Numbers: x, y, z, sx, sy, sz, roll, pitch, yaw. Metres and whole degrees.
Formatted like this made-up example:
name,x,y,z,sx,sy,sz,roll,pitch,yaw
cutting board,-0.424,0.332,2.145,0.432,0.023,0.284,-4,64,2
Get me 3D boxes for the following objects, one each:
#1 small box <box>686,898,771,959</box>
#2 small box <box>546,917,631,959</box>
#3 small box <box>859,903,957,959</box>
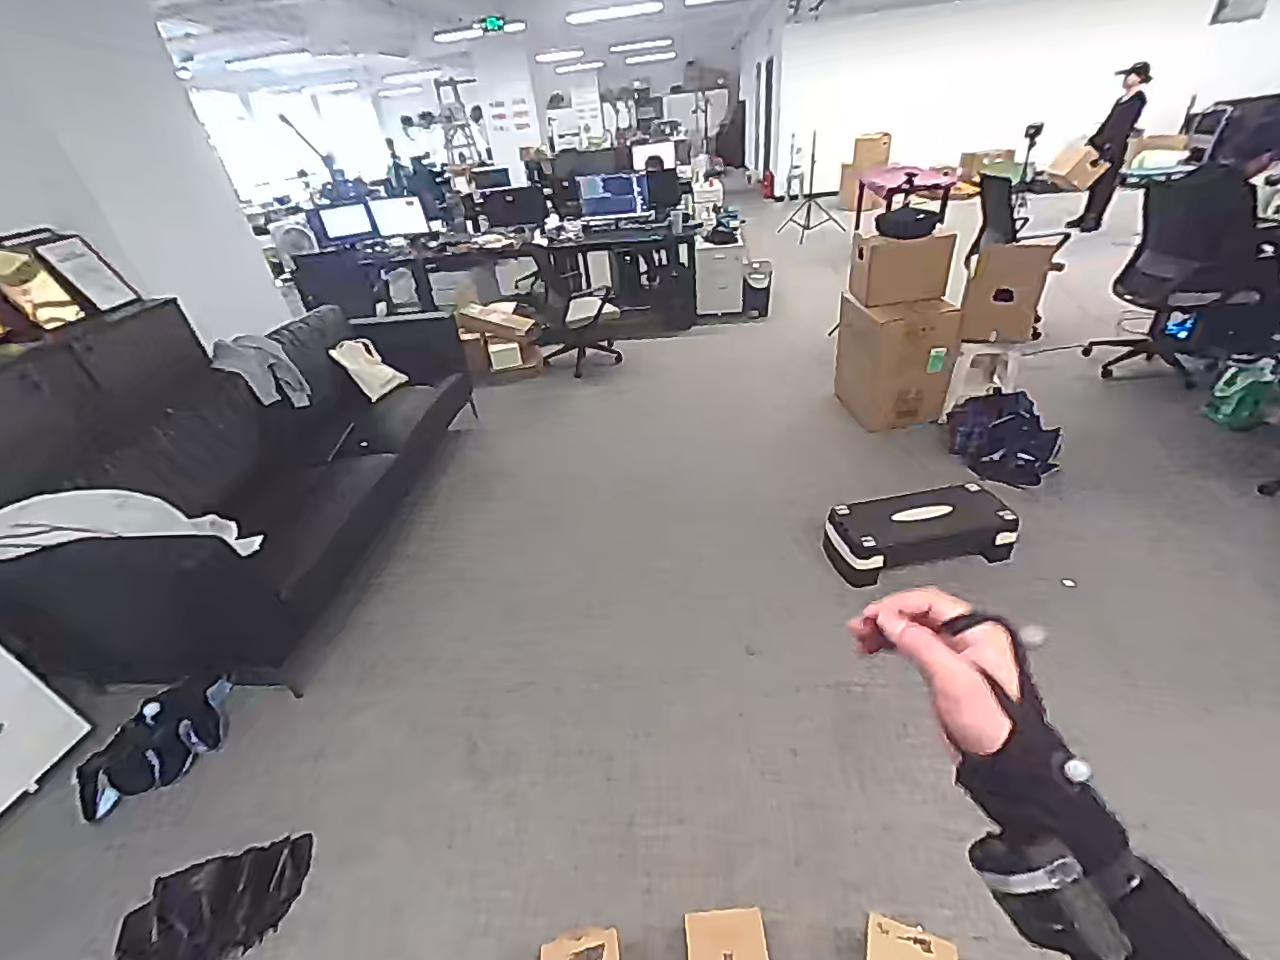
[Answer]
name,x,y,z,sx,sy,sz,roll,pitch,yaw
small box,0.192,1.033,1.154,0.168,0.176,0.179,-5,33,1
small box,-0.102,1.074,1.144,0.168,0.176,0.179,-10,35,-3
small box,0.538,1.022,1.099,0.168,0.176,0.179,8,38,23
